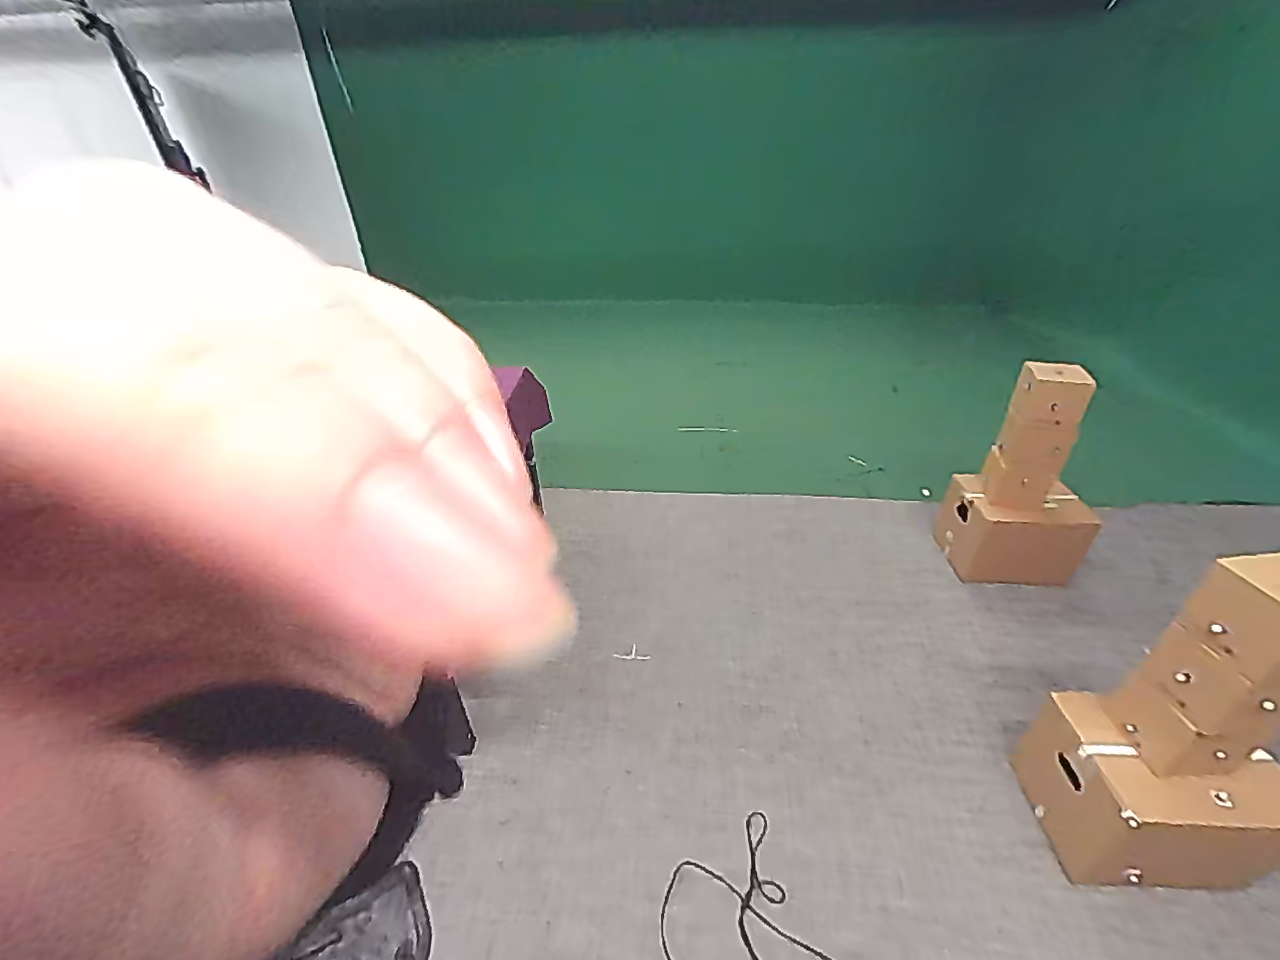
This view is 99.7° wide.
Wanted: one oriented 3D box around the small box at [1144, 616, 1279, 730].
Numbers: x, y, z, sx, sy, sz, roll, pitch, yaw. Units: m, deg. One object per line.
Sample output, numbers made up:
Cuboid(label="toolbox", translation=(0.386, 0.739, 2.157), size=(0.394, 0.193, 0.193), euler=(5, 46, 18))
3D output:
Cuboid(label="small box", translation=(1.215, 0.398, 1.126), size=(0.179, 0.176, 0.168), euler=(-4, 33, -3))

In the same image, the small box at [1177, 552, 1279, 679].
Cuboid(label="small box", translation=(1.213, 0.258, 1.037), size=(0.179, 0.176, 0.168), euler=(-4, 32, -3))

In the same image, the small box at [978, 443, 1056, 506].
Cuboid(label="small box", translation=(1.407, -0.018, 2.028), size=(0.179, 0.176, 0.168), euler=(7, 34, 13))

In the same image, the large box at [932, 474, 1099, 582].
Cuboid(label="large box", translation=(1.462, 0.188, 2.154), size=(0.408, 0.320, 0.320), euler=(2, 34, 3))

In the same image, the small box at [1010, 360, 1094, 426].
Cuboid(label="small box", translation=(1.407, -0.299, 1.859), size=(0.168, 0.176, 0.179), euler=(10, 34, 16))

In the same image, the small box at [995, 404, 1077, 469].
Cuboid(label="small box", translation=(1.414, -0.156, 1.942), size=(0.179, 0.176, 0.168), euler=(9, 34, 16))
